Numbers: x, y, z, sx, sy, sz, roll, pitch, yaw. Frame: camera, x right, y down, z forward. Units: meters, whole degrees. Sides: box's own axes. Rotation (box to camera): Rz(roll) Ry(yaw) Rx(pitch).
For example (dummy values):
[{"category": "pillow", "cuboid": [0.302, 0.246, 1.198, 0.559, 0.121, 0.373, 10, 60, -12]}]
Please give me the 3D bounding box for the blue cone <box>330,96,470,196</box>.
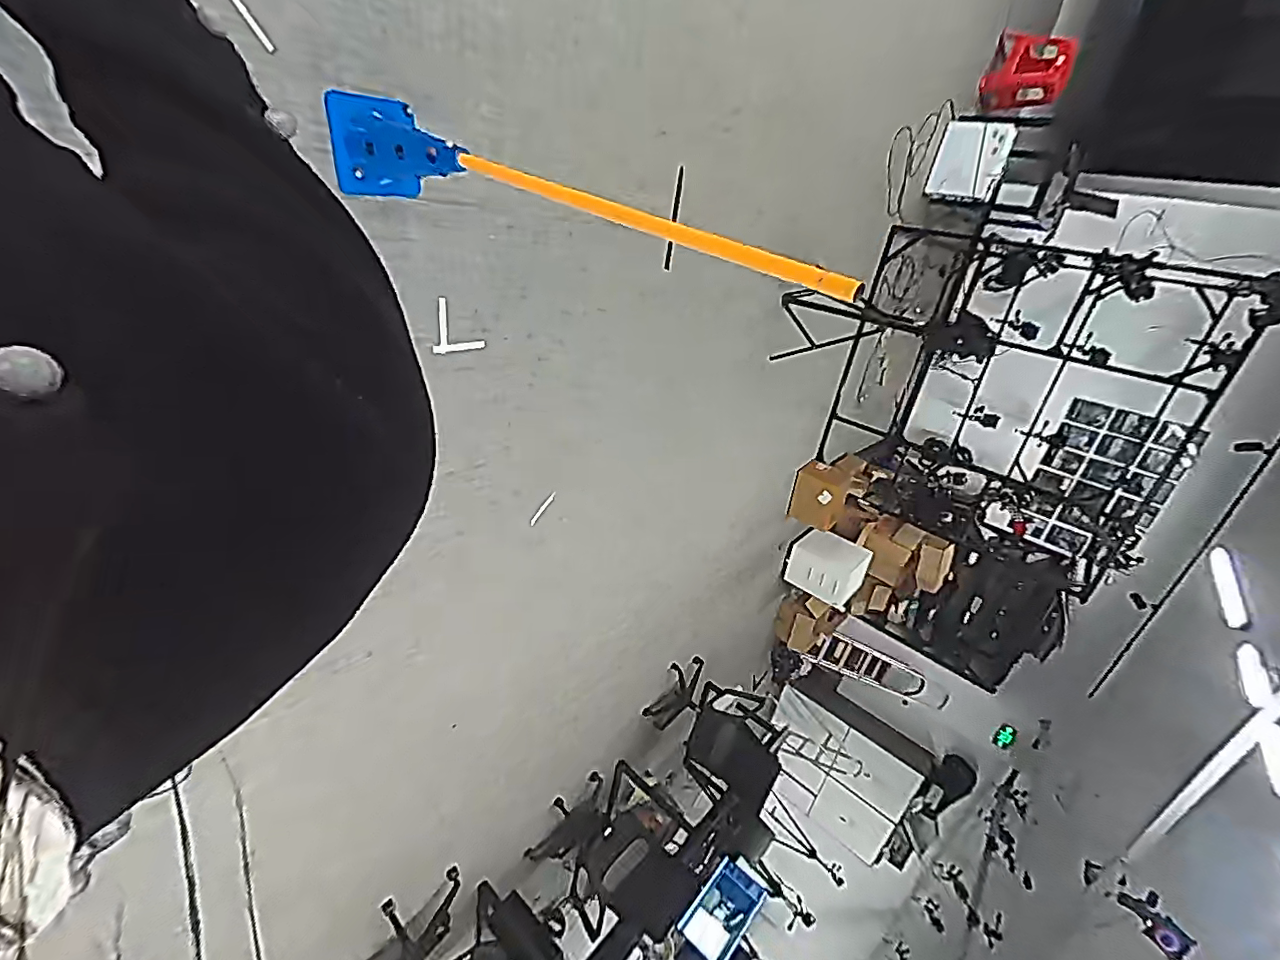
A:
[{"category": "blue cone", "cuboid": [-0.488, -0.709, 1.169, 0.193, 0.380, 0.192, -25, 131, -44]}]
